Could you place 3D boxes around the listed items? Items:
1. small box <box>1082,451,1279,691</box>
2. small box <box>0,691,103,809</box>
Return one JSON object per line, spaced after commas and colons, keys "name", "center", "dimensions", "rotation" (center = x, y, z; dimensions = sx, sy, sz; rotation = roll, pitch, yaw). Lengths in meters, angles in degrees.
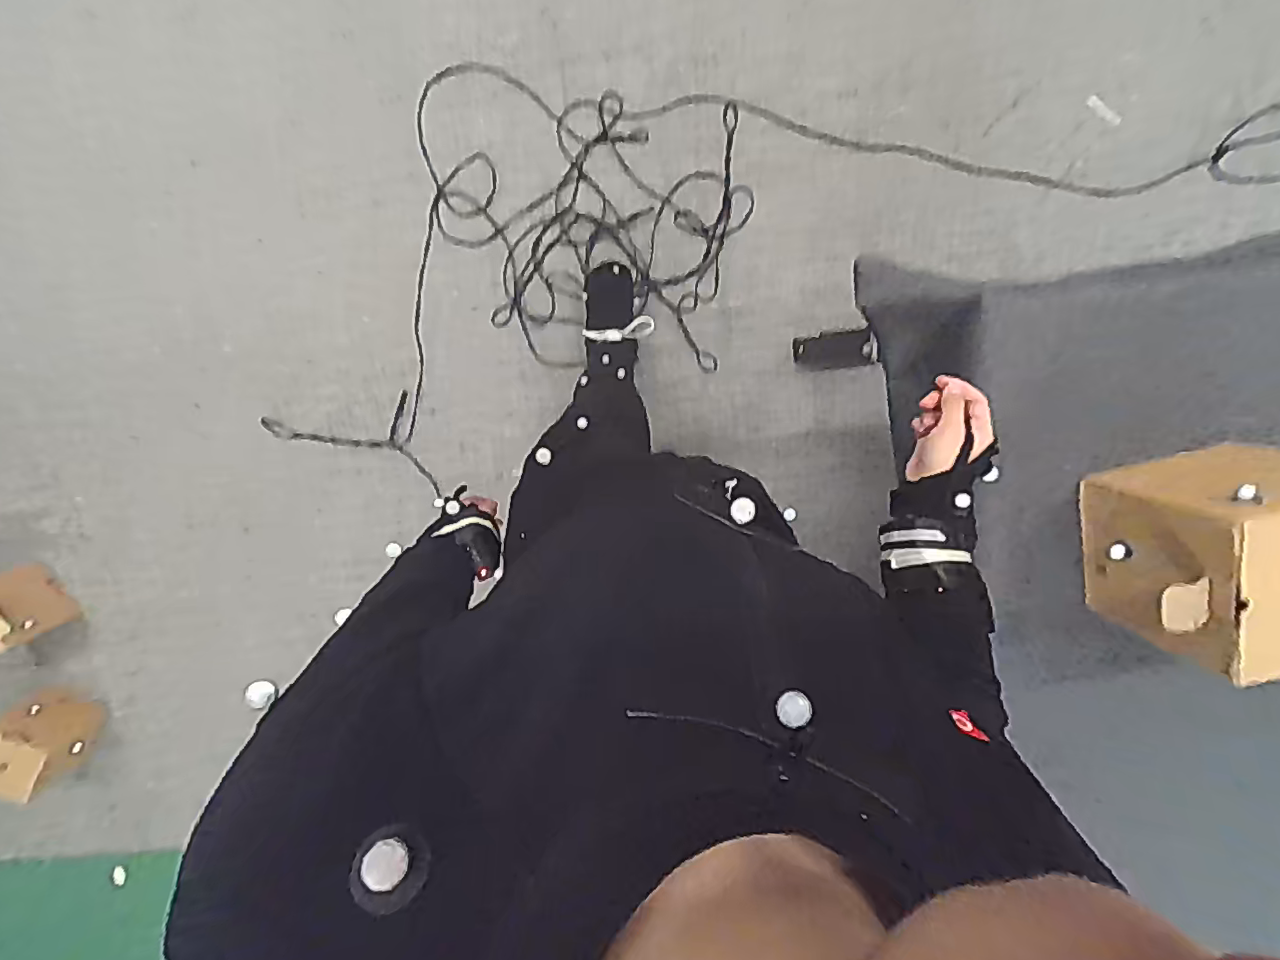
{"name": "small box", "center": [0.605, 0.077, 0.551], "dimensions": [0.179, 0.176, 0.168], "rotation": [-14, 103, 2]}
{"name": "small box", "center": [-1.533, 0.674, 1.369], "dimensions": [0.168, 0.176, 0.179], "rotation": [30, 101, -7]}
